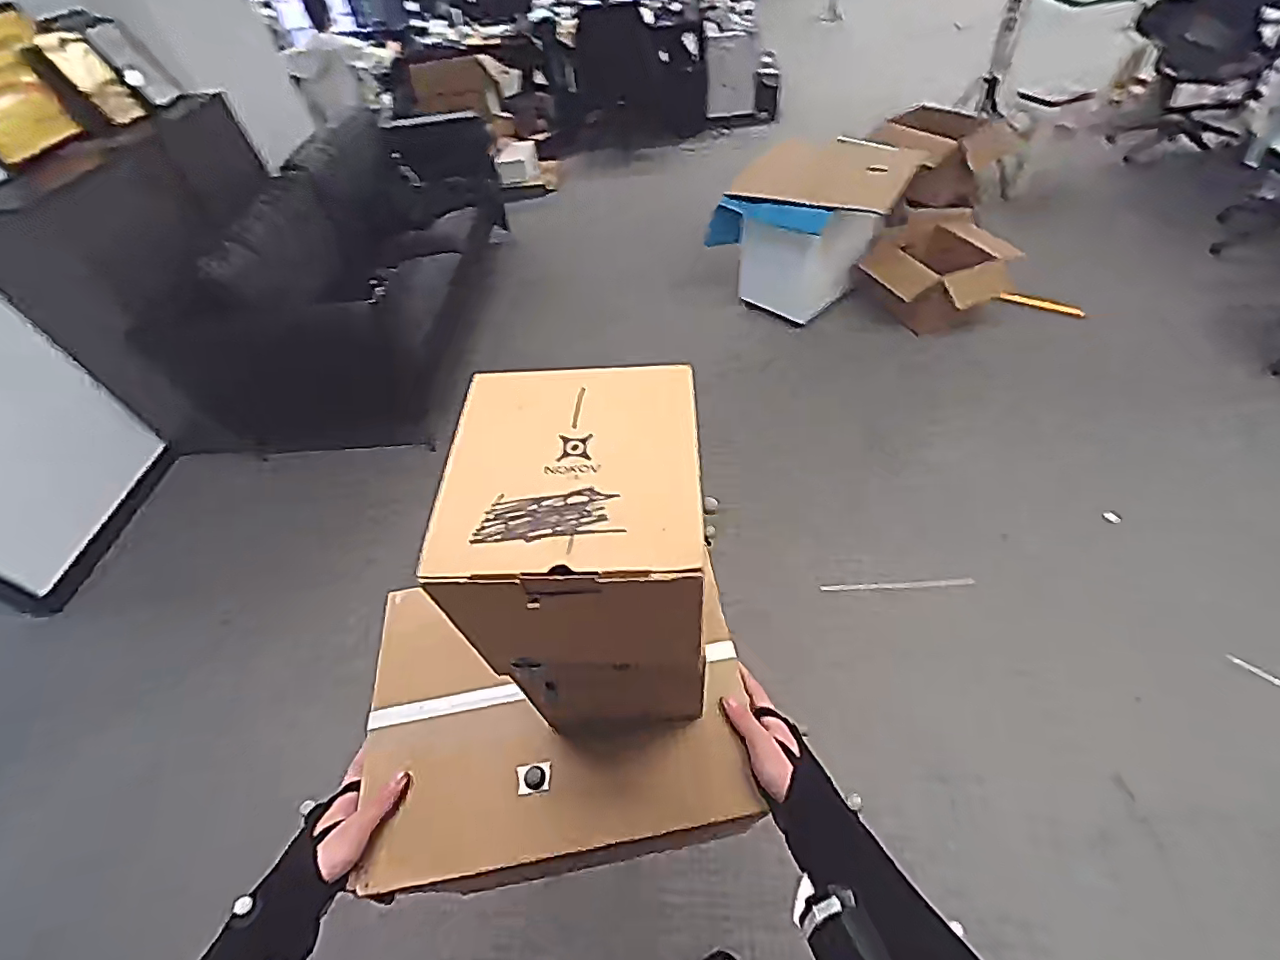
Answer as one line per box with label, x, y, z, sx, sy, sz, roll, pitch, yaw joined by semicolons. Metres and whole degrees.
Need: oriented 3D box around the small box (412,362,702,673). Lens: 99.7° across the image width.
small box;-0.038;0.035;0.406;0.168;0.176;0.179;-1;51;4
